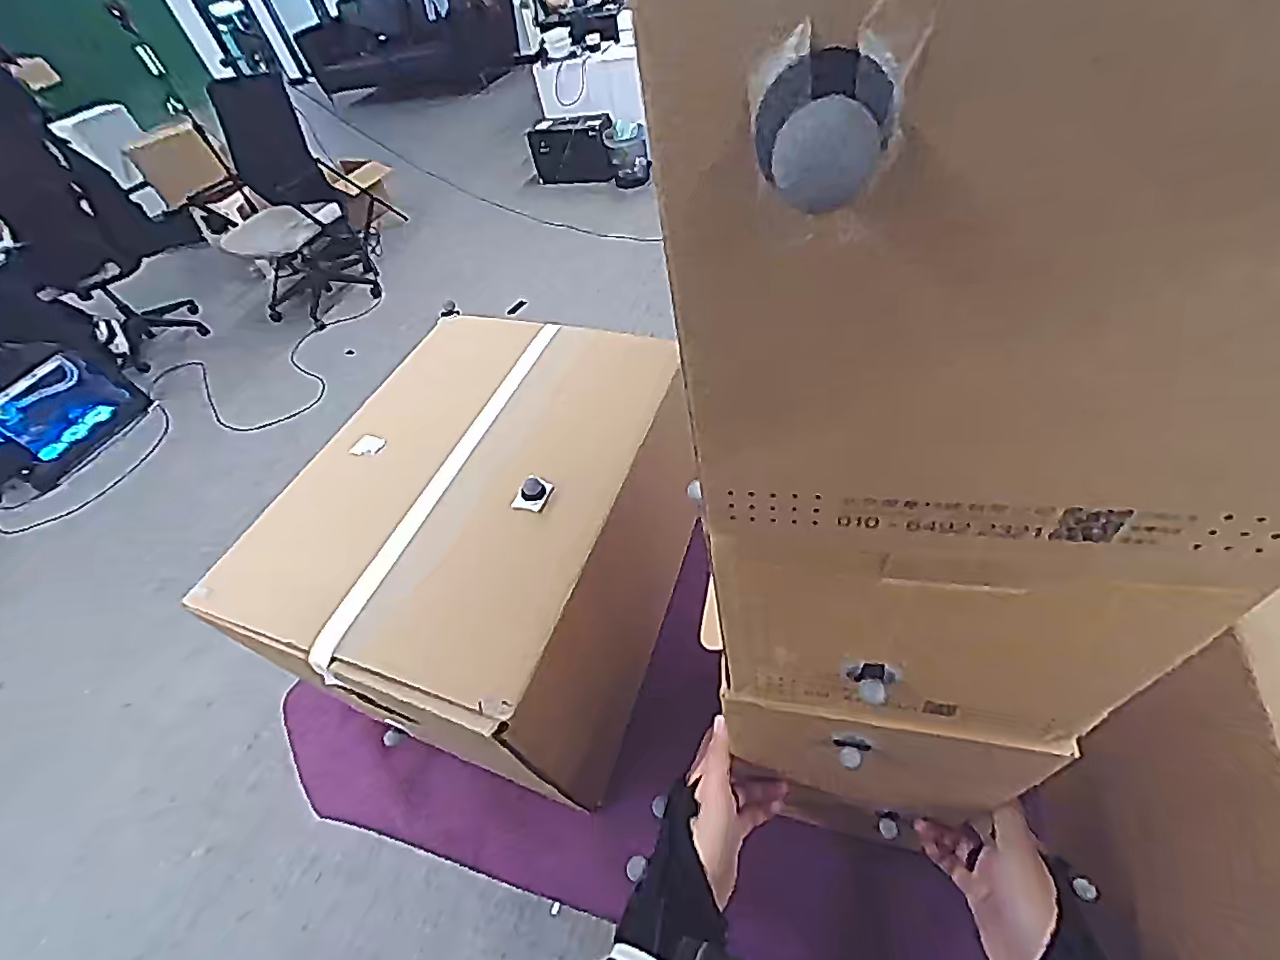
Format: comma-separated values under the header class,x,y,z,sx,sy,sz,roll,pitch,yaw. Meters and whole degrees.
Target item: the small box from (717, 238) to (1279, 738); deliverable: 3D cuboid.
class,x,y,z,sx,sy,sz,roll,pitch,yaw
small box,0.134,0.004,0.272,0.168,0.176,0.179,3,51,15
